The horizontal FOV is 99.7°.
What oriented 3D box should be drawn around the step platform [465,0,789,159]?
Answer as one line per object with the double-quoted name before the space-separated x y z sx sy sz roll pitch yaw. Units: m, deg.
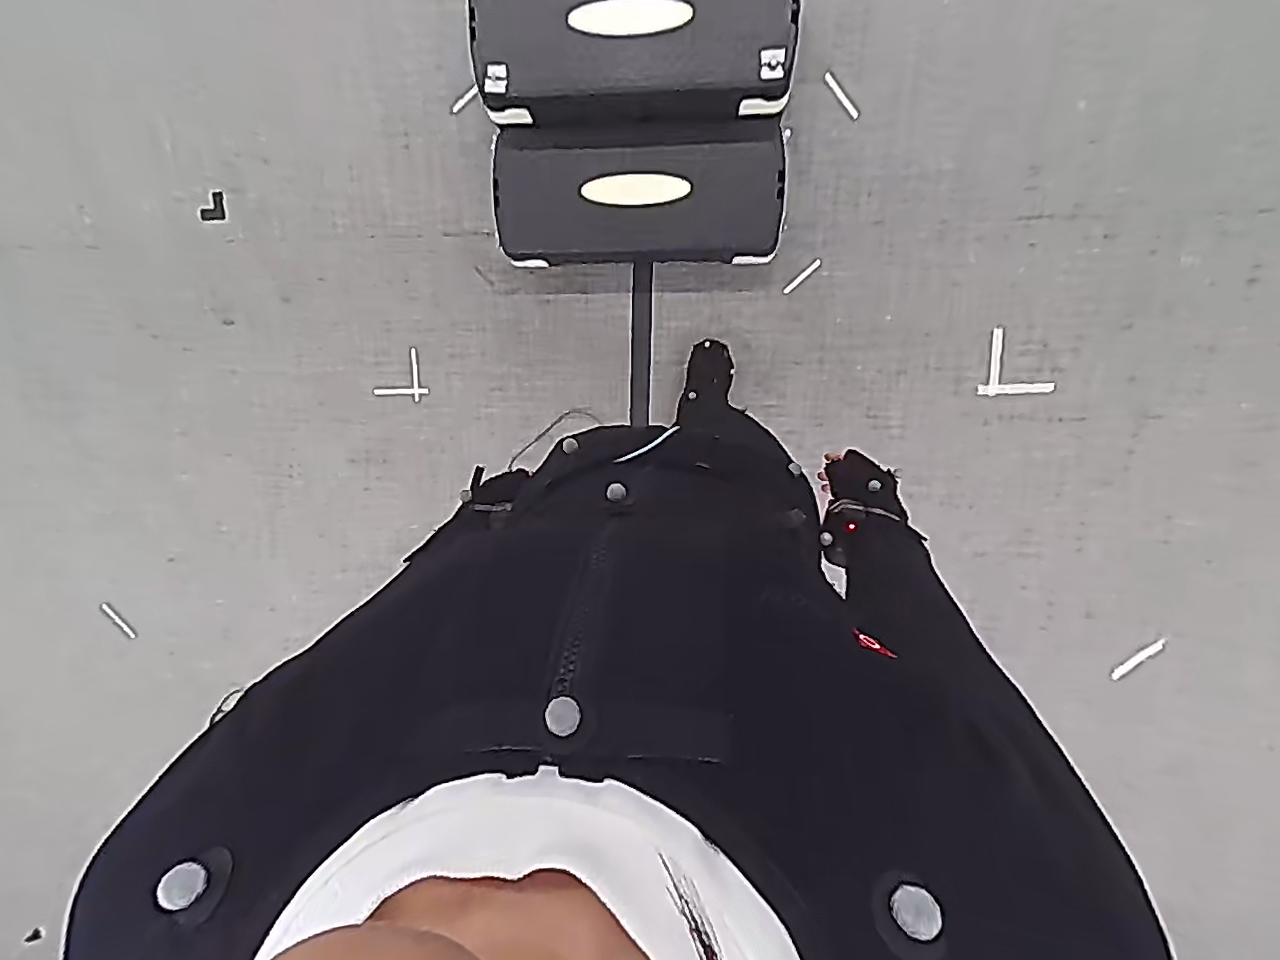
"step platform" -0.028 -0.906 1.179 0.684 0.204 0.286 0 101 4
